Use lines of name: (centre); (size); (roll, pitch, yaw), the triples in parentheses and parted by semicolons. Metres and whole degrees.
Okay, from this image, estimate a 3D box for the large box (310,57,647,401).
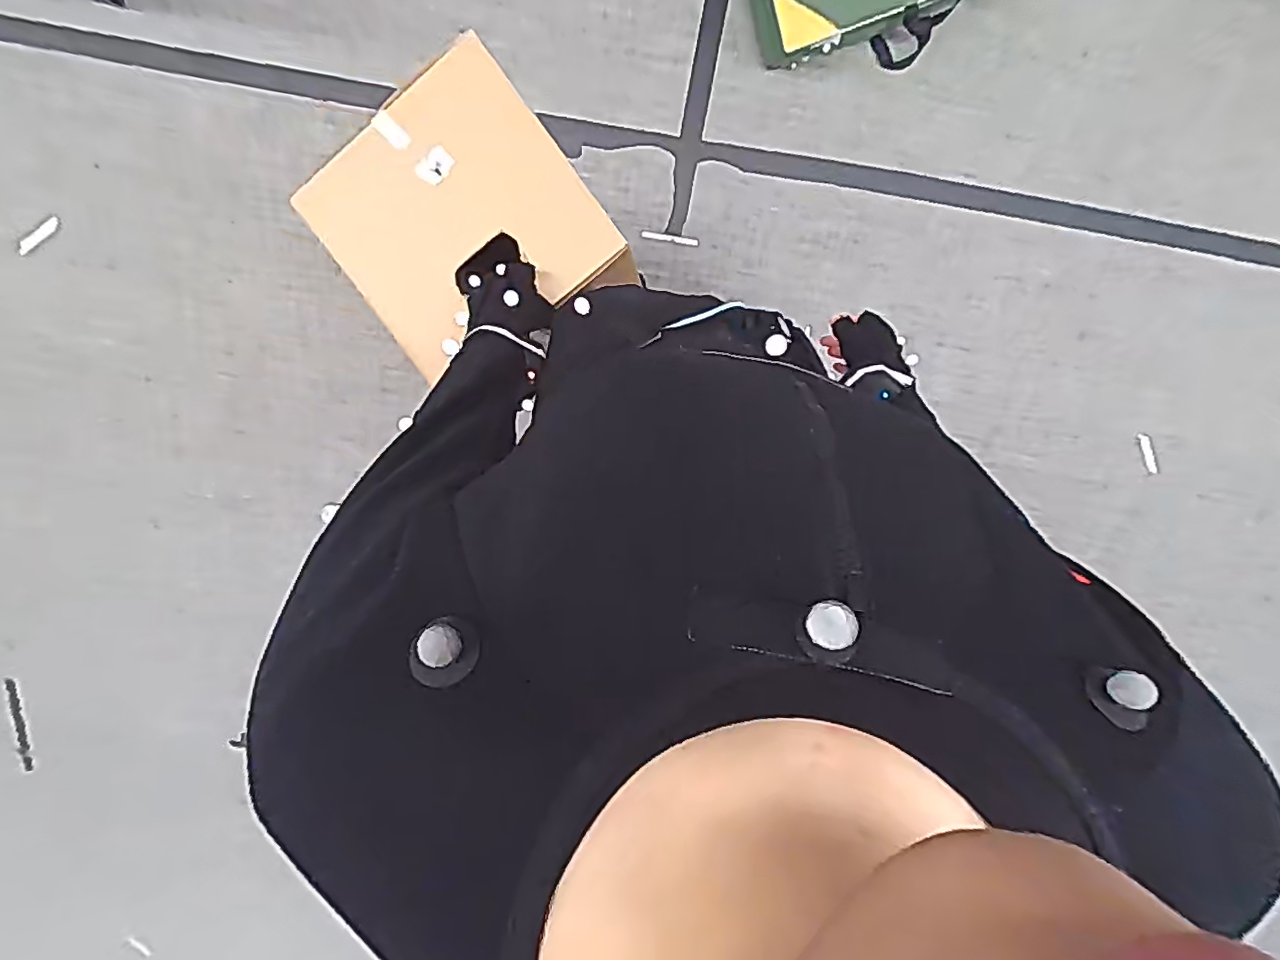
large box: (-0.211, -0.347, 0.878); (0.320, 0.408, 0.320); (-35, 96, 8)
